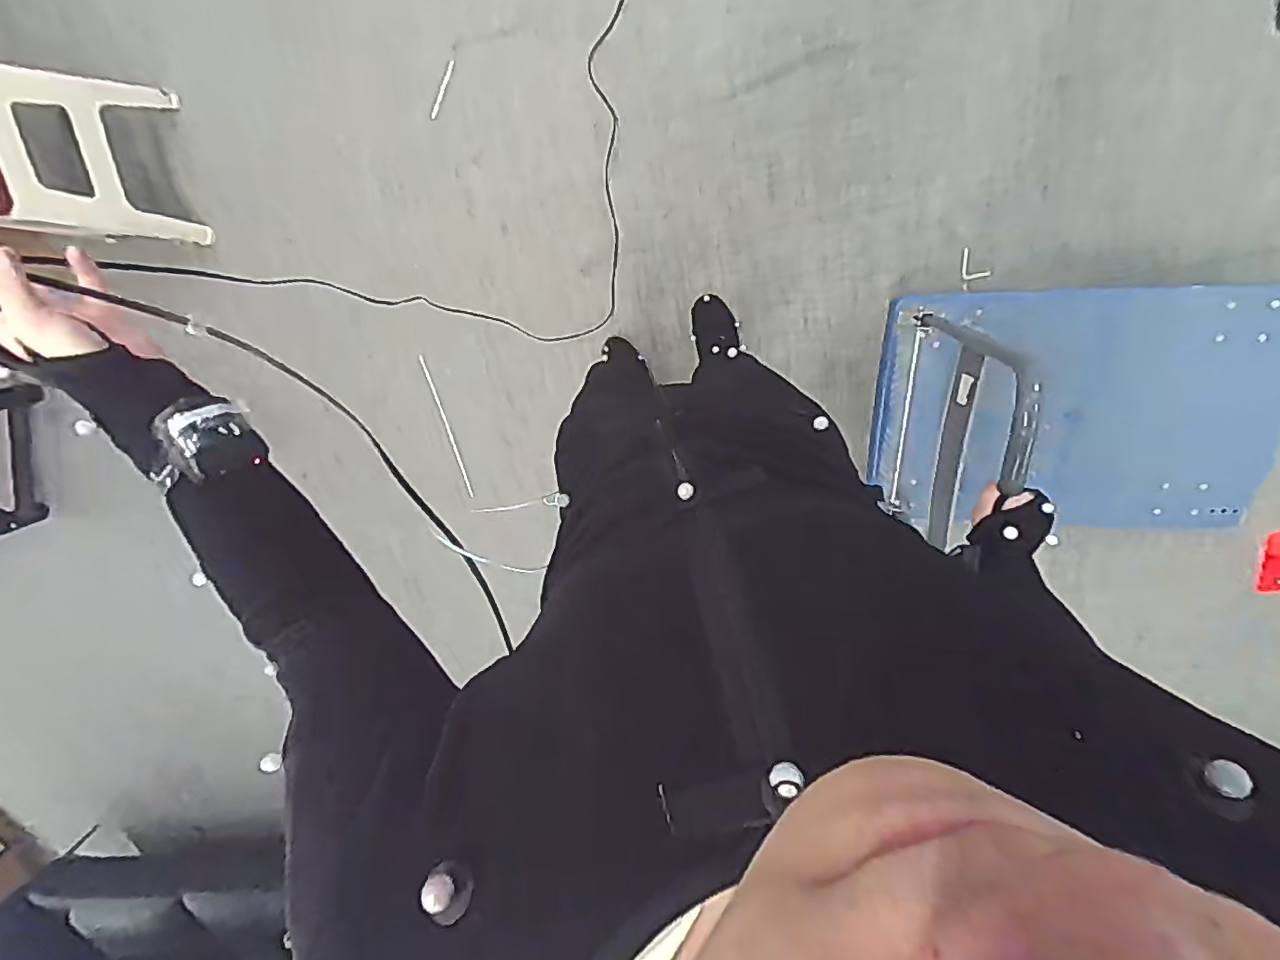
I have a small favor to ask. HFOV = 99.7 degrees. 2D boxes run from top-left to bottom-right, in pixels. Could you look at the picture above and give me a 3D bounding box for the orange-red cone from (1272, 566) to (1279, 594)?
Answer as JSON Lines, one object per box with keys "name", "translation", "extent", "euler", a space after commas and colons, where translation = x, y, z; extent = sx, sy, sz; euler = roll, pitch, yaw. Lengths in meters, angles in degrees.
{"name": "orange-red cone", "translation": [1.836, 0.289, 1.316], "extent": [0.199, 0.360, 0.198], "euler": [-9, 111, 11]}
